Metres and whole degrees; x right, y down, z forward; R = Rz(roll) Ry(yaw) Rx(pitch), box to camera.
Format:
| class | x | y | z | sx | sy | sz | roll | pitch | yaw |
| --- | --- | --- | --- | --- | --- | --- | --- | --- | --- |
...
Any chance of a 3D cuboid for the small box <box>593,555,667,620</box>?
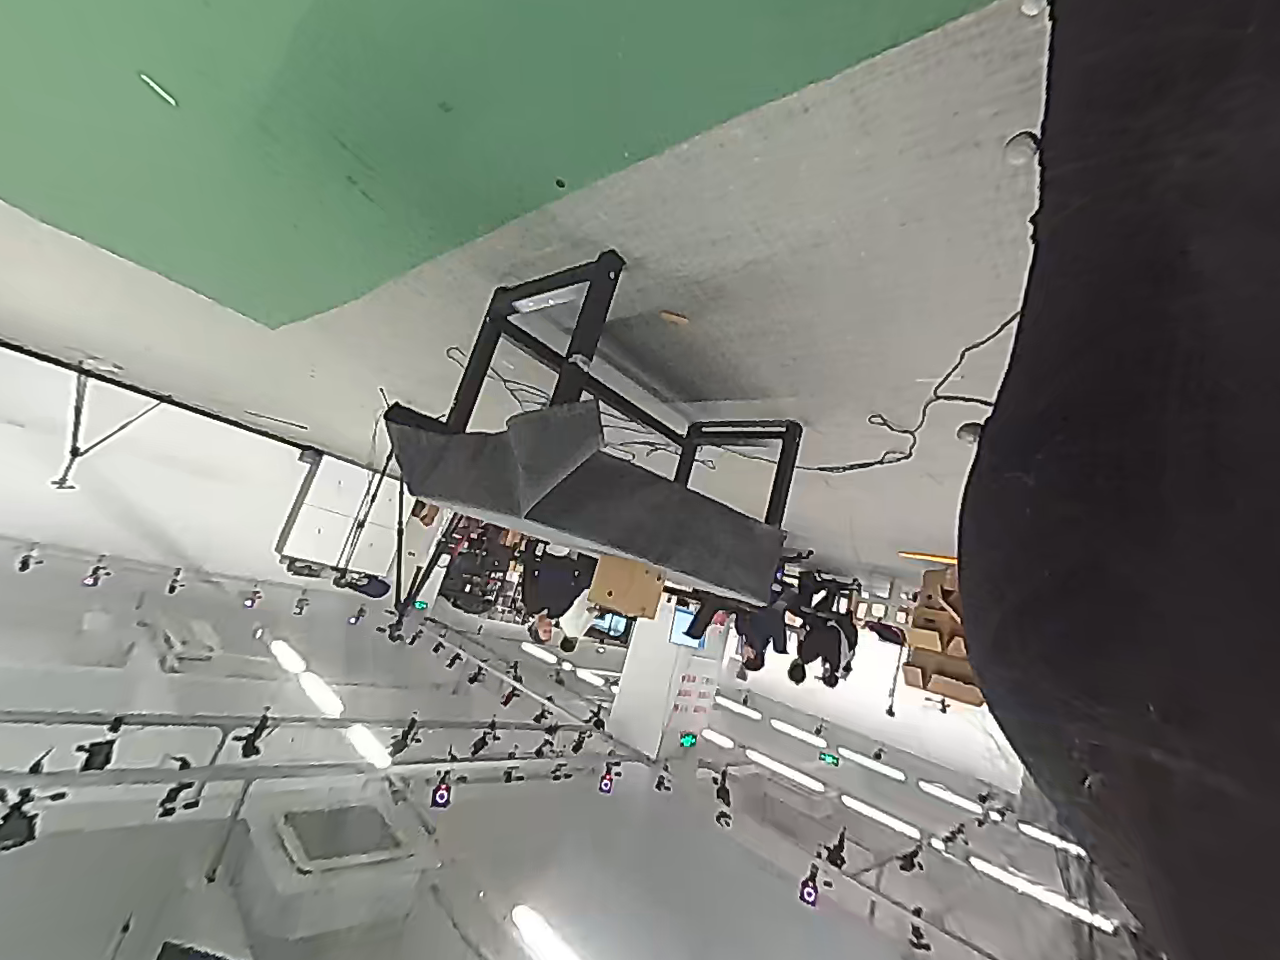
| class | x | y | z | sx | sy | sz | roll | pitch | yaw |
| --- | --- | --- | --- | --- | --- | --- | --- | --- | --- |
| small box | -0.025 | 0.356 | 1.816 | 0.179 | 0.176 | 0.168 | 6 | 165 | 45 |
